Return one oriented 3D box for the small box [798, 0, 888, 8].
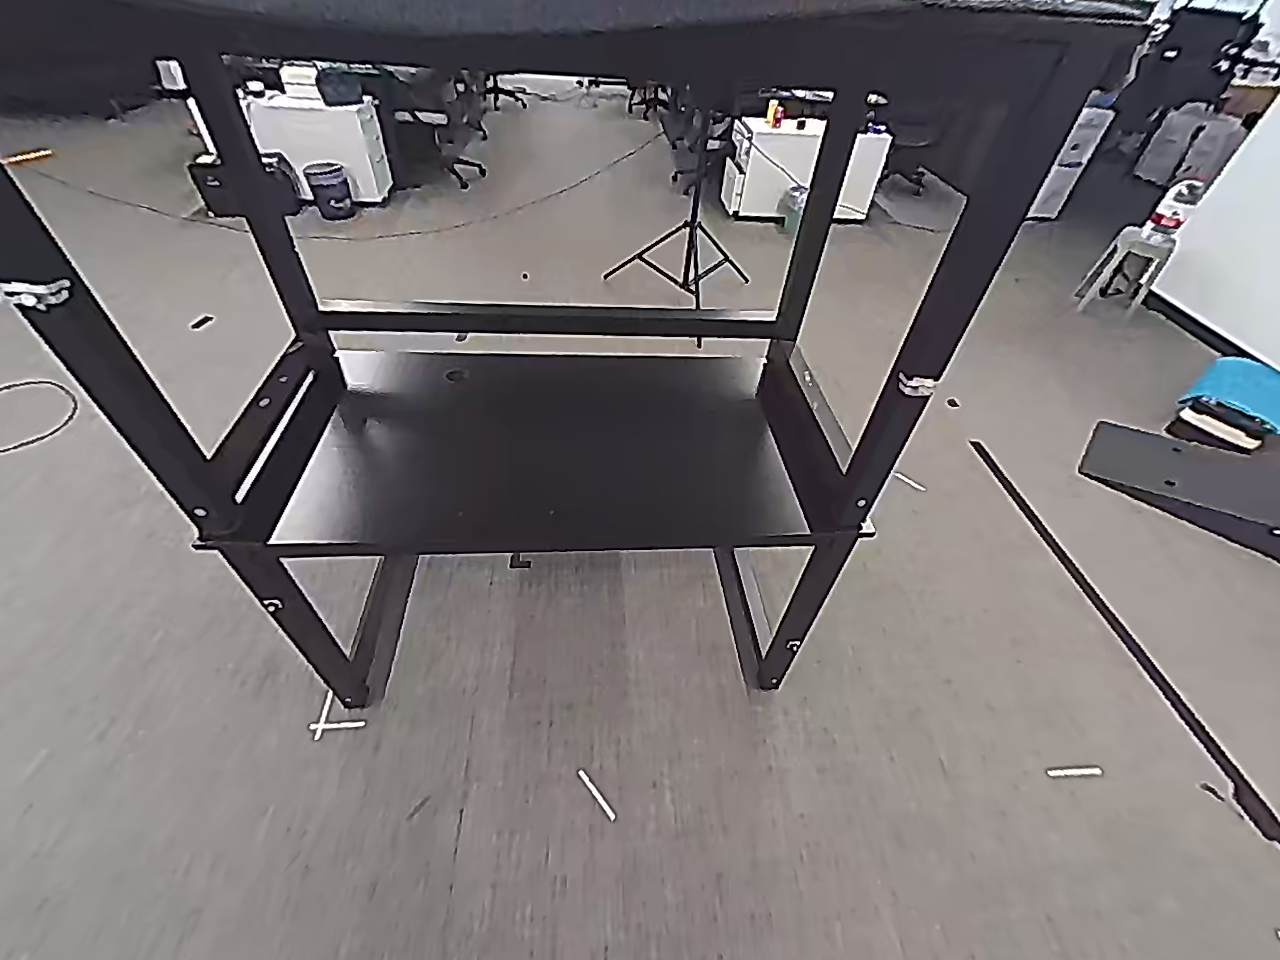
[{"bbox_3d":[0.163,-0.573,0.516,0.168,0.176,0.179,-1,44,-4],"label":"small box"}]
